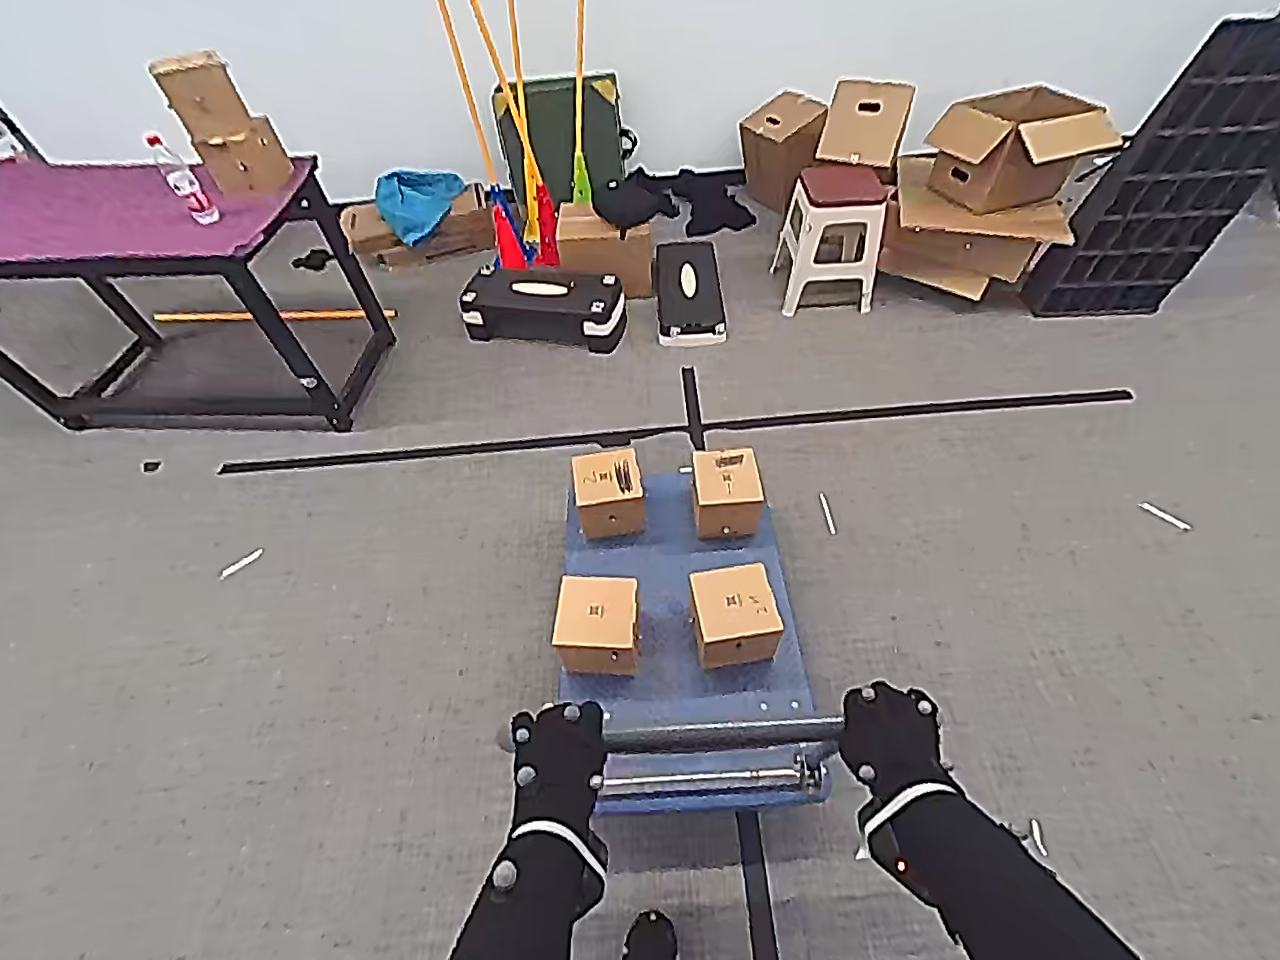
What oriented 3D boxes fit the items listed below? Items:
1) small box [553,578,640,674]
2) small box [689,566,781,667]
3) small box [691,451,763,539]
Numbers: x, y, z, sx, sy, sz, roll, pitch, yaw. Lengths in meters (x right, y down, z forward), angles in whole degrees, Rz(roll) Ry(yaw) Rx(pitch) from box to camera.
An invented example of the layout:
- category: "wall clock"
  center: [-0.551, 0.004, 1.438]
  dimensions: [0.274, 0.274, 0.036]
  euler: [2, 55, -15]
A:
- category: "small box"
  center: [-0.093, 0.344, 1.261]
  dimensions: [0.179, 0.176, 0.168]
  euler: [1, 52, 3]
- category: "small box"
  center: [0.213, 0.322, 1.257]
  dimensions: [0.179, 0.176, 0.168]
  euler: [-8, 52, -2]
- category: "small box"
  center: [0.229, 0.043, 1.472]
  dimensions: [0.168, 0.176, 0.179]
  euler: [-4, 53, 1]
